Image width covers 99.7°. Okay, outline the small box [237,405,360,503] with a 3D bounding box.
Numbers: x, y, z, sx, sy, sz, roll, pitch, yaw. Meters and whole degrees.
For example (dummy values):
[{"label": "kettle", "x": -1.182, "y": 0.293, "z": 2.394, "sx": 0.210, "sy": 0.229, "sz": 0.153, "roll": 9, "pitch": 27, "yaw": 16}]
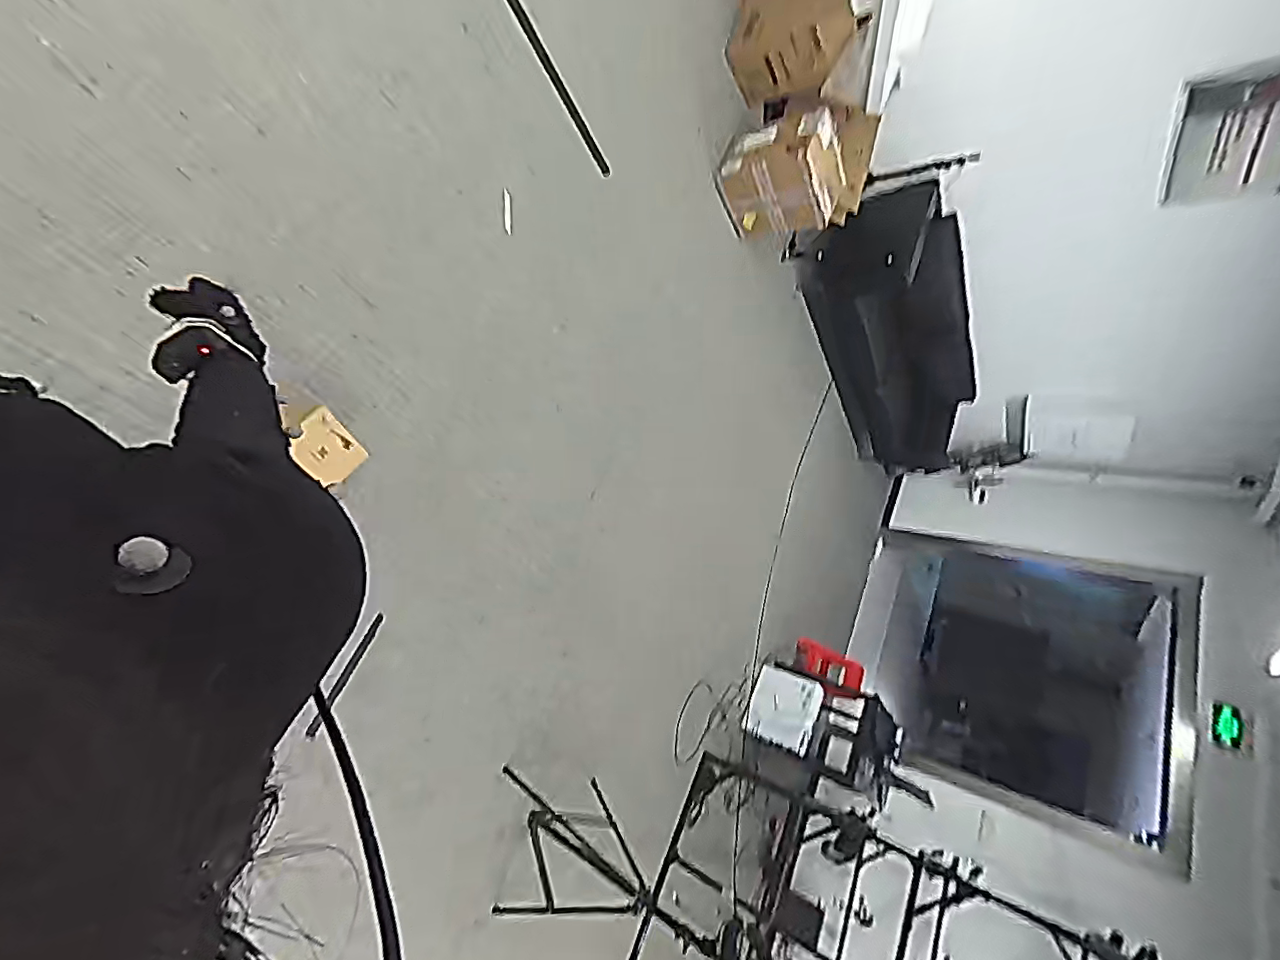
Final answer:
[{"label": "small box", "x": -0.838, "y": -0.068, "z": 1.321, "sx": 0.179, "sy": 0.176, "sz": 0.168, "roll": -54, "pitch": 135, "yaw": -31}]
